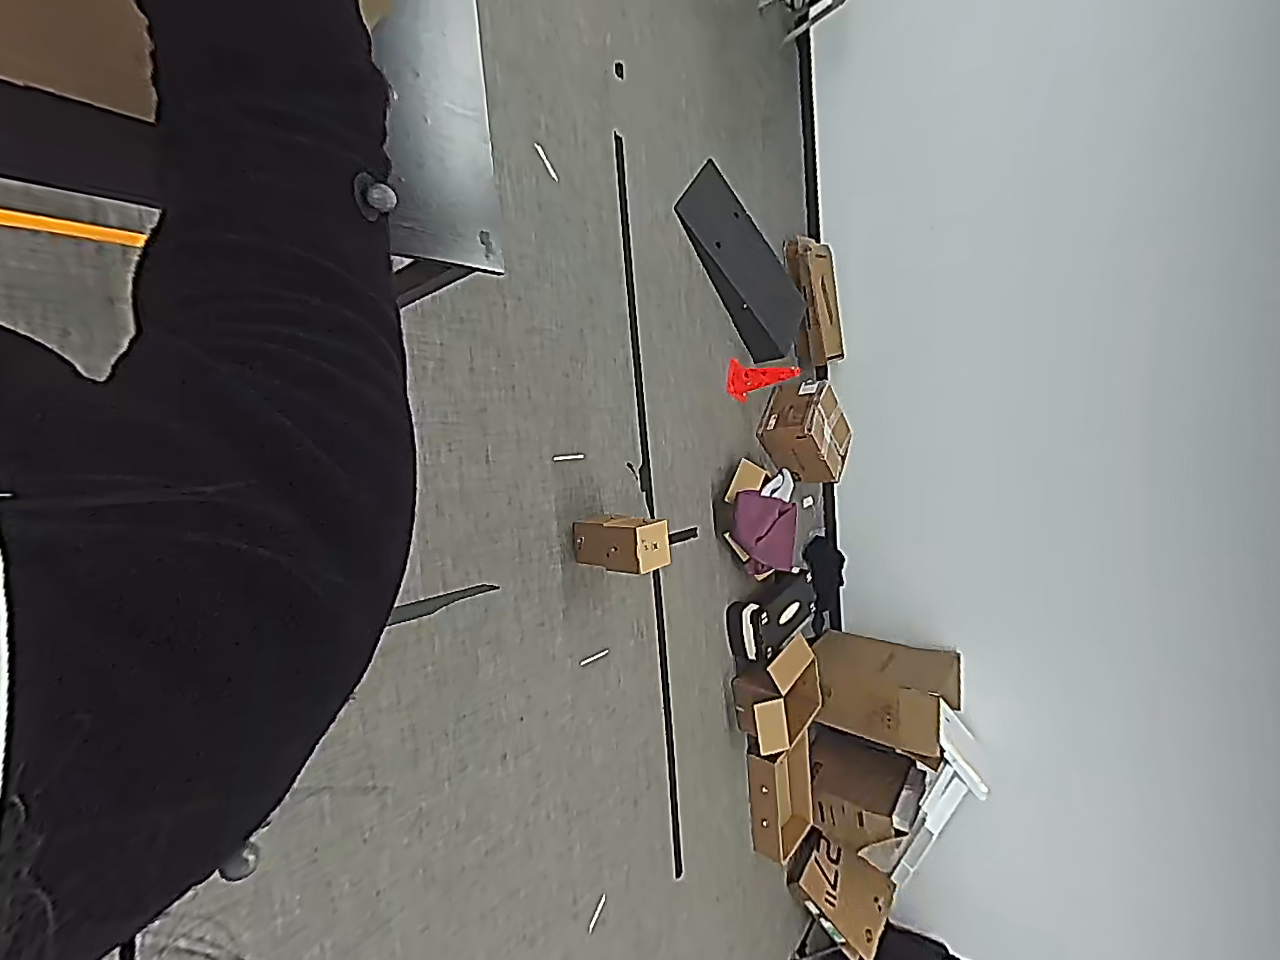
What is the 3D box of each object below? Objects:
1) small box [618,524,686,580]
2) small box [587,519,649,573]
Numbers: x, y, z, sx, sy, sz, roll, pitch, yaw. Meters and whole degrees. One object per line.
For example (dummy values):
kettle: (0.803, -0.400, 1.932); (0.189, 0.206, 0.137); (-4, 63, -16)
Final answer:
small box: (0.044, 0.252, 1.939); (0.179, 0.176, 0.168); (-11, 97, -49)
small box: (-0.077, 0.245, 2.052); (0.179, 0.176, 0.168); (-11, 97, -48)
